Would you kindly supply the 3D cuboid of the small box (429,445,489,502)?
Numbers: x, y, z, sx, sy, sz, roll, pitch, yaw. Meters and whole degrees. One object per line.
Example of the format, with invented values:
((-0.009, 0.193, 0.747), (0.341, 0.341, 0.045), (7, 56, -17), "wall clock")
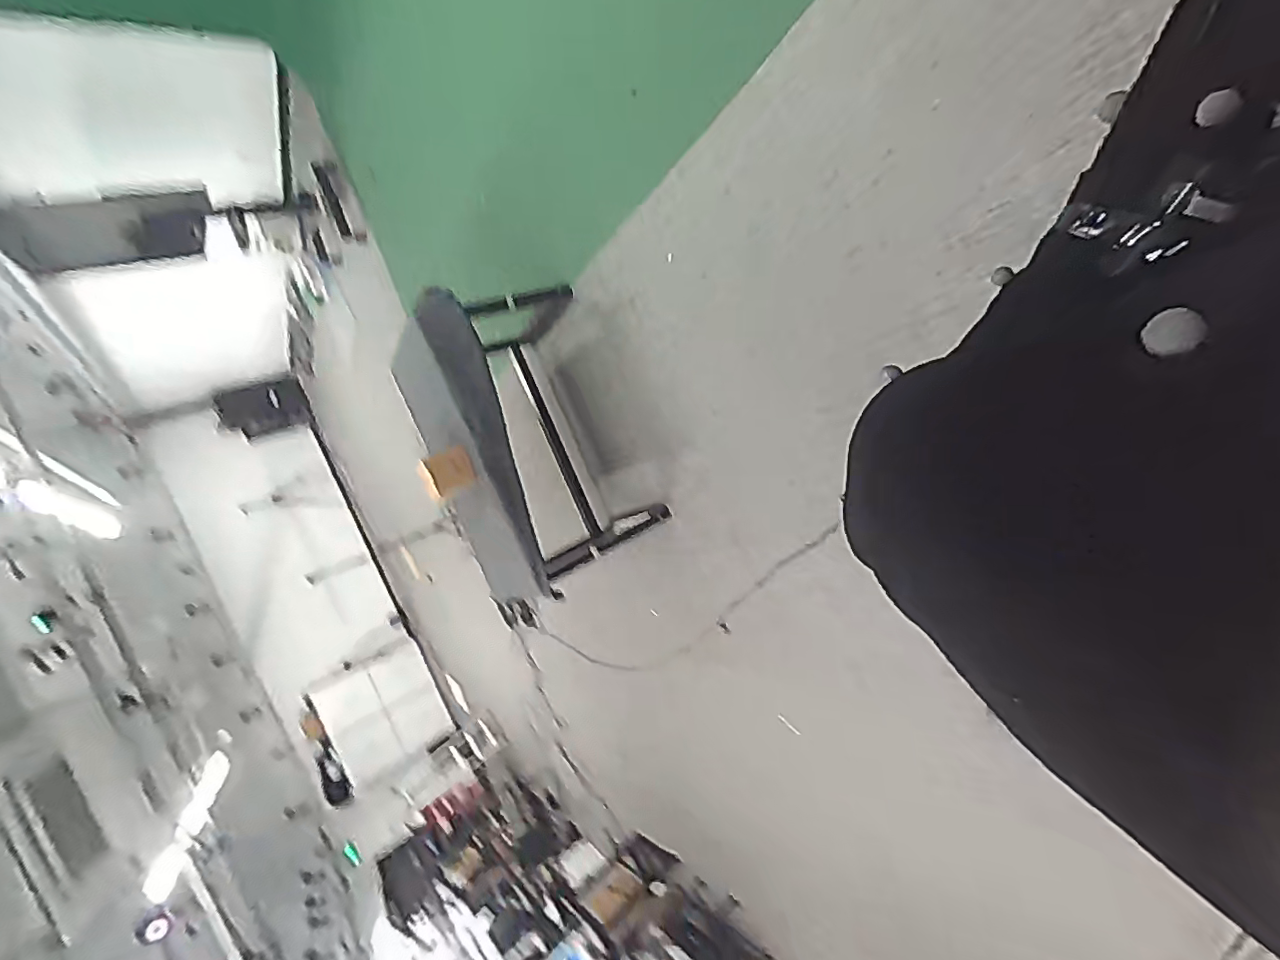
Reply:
((-0.742, -0.029, 2.228), (0.179, 0.176, 0.168), (-21, 93, 57), "small box")
